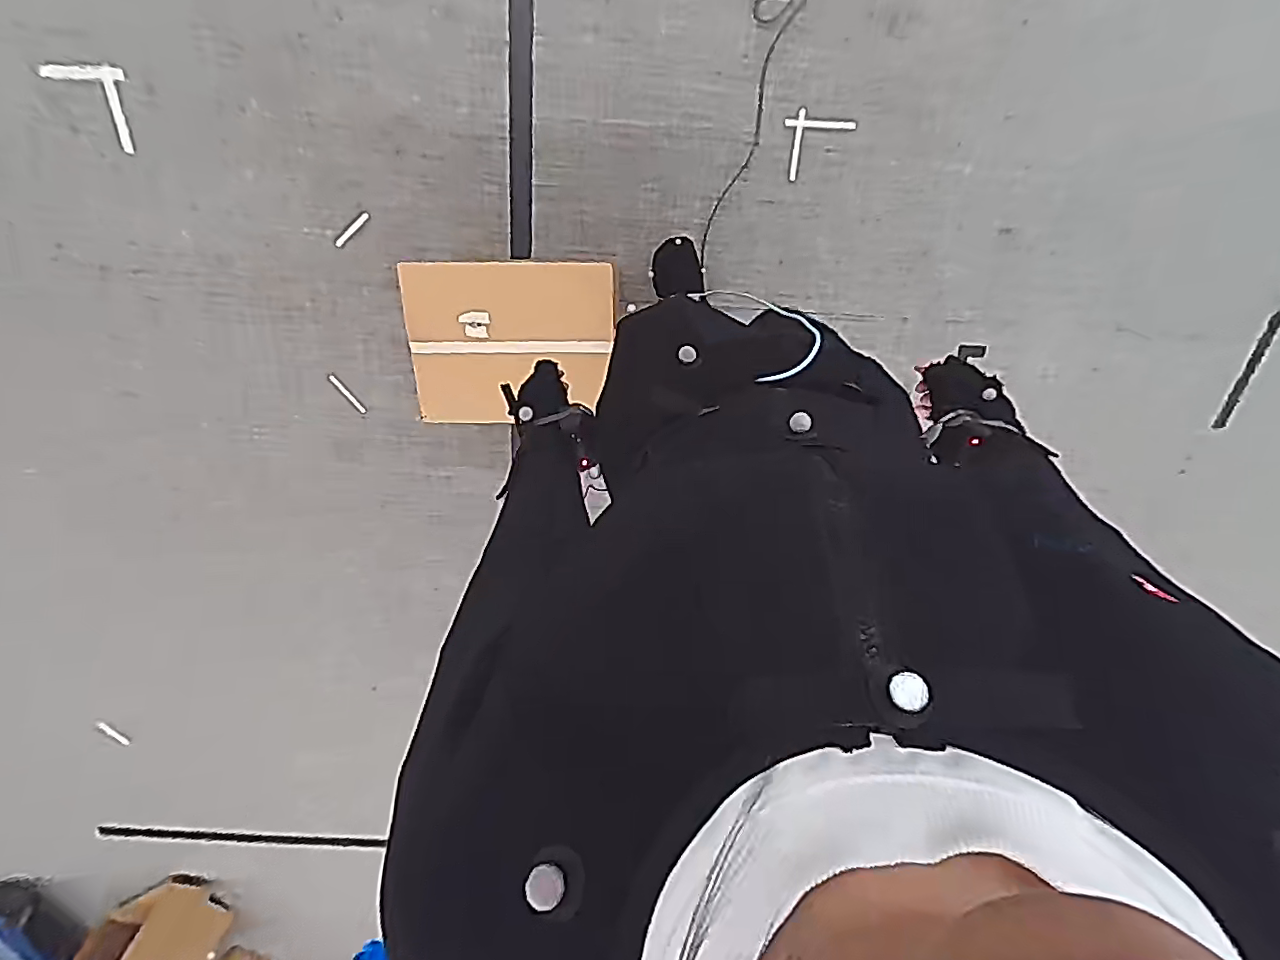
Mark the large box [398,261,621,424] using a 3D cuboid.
[{"bbox_3d":[-0.253,-0.316,1.201,0.408,0.320,0.320,1,112,1],"label":"large box"}]
